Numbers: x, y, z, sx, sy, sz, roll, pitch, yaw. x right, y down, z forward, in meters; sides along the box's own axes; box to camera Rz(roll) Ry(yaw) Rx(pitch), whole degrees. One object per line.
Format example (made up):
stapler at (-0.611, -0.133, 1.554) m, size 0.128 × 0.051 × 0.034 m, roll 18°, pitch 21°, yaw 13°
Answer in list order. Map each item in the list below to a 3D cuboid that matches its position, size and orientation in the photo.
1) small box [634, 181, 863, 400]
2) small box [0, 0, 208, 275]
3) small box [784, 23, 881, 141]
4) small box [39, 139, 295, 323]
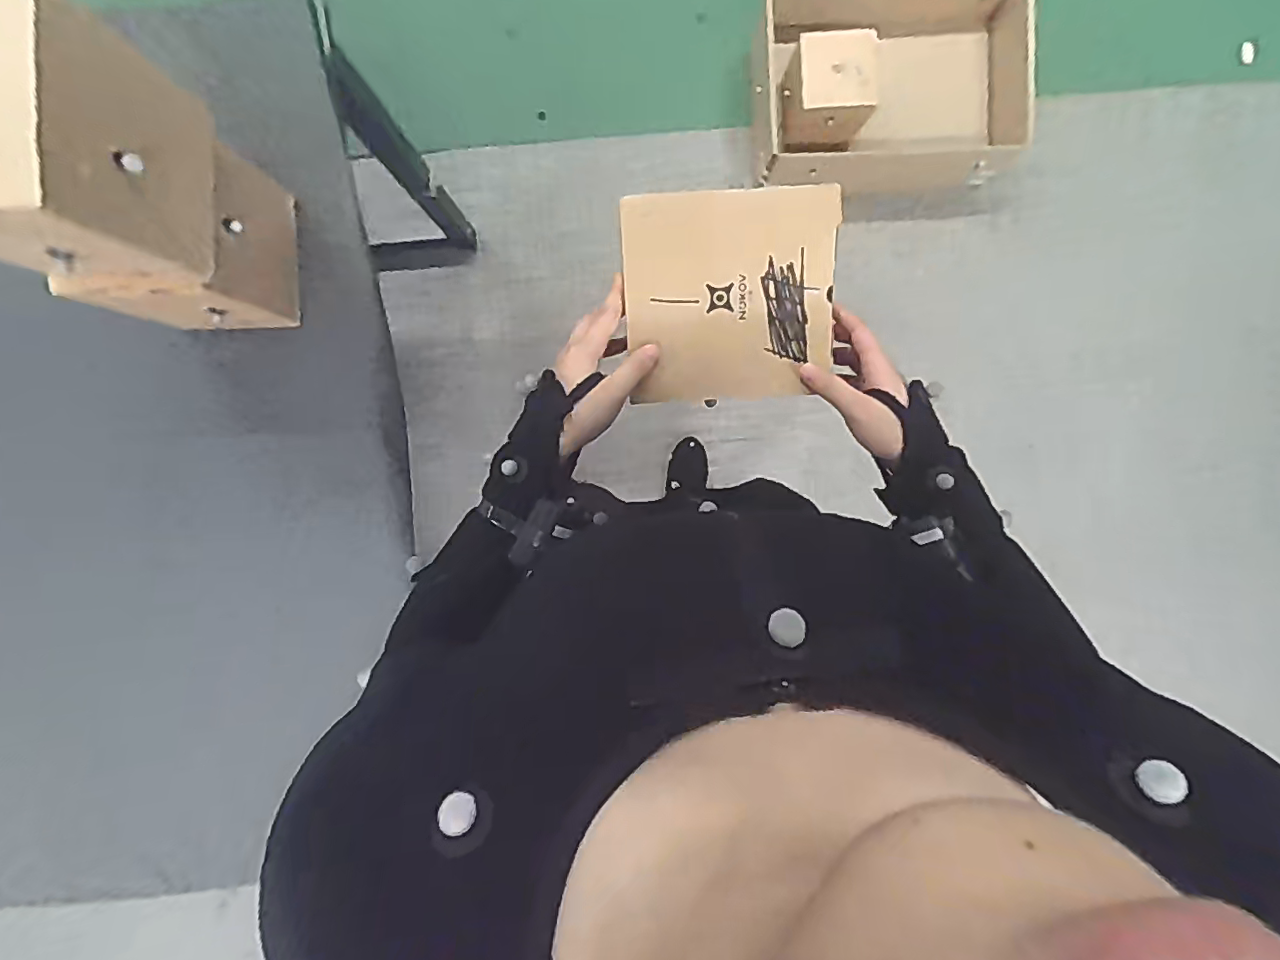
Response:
small box at (0.085, -0.169, 0.508) m, size 0.179 × 0.176 × 0.168 m, roll -2°, pitch 106°, yaw 1°
small box at (-0.516, -0.288, 0.466) m, size 0.168 × 0.176 × 0.179 m, roll 2°, pitch 94°, yaw -1°
small box at (0.447, -0.933, 1.283) m, size 0.179 × 0.176 × 0.168 m, roll -4°, pitch 95°, yaw -2°
small box at (-0.534, -0.286, 0.631) m, size 0.168 × 0.176 × 0.179 m, roll -1°, pitch 93°, yaw -1°
